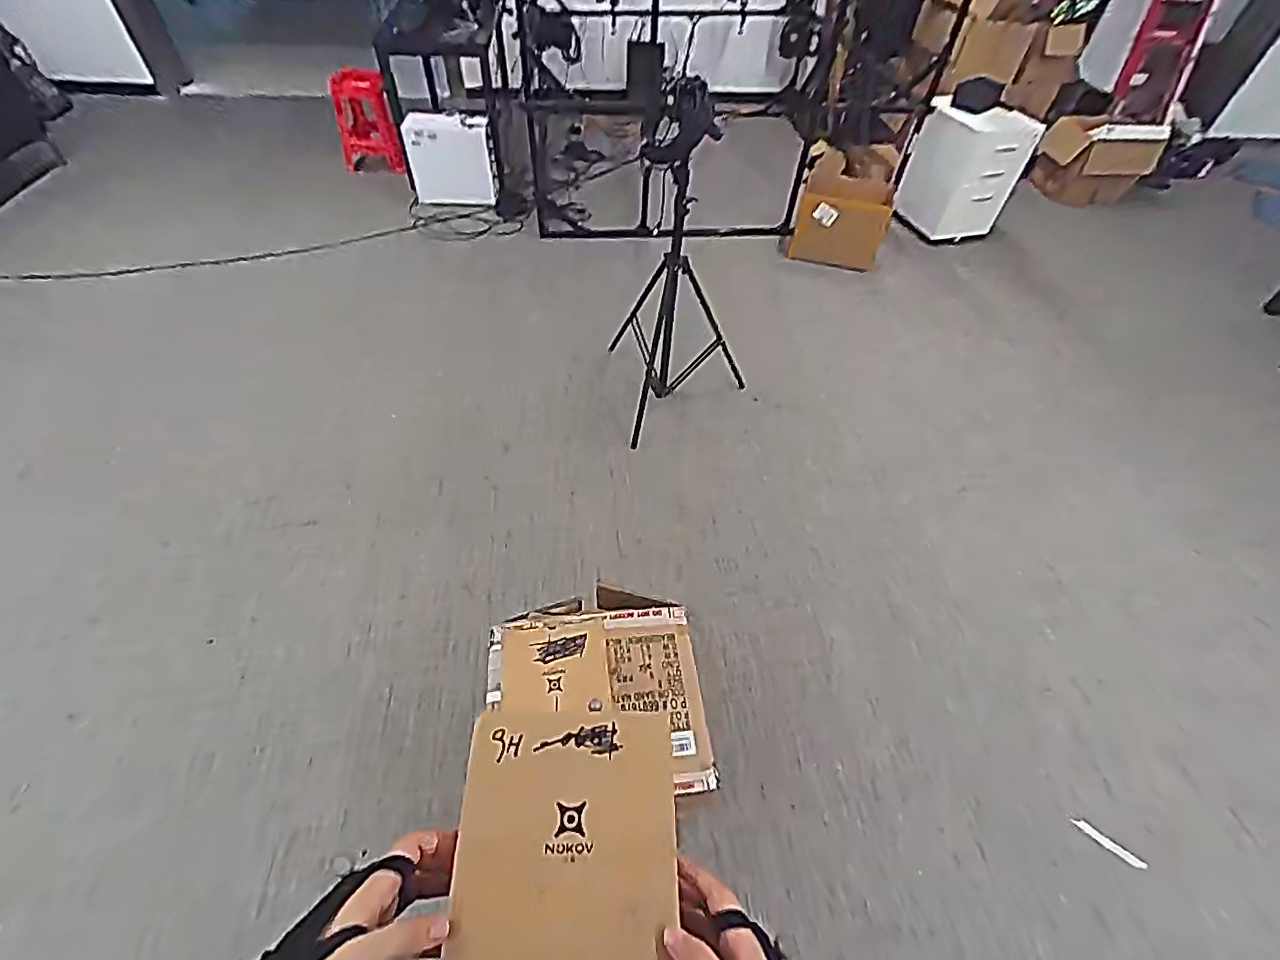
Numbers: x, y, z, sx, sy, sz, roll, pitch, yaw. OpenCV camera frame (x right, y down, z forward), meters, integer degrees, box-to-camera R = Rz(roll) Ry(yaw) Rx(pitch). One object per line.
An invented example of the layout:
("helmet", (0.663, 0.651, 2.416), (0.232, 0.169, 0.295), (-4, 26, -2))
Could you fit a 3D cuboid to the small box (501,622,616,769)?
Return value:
("small box", (-0.130, 0.353, 0.883), (0.168, 0.176, 0.179), (-6, 55, -6))
